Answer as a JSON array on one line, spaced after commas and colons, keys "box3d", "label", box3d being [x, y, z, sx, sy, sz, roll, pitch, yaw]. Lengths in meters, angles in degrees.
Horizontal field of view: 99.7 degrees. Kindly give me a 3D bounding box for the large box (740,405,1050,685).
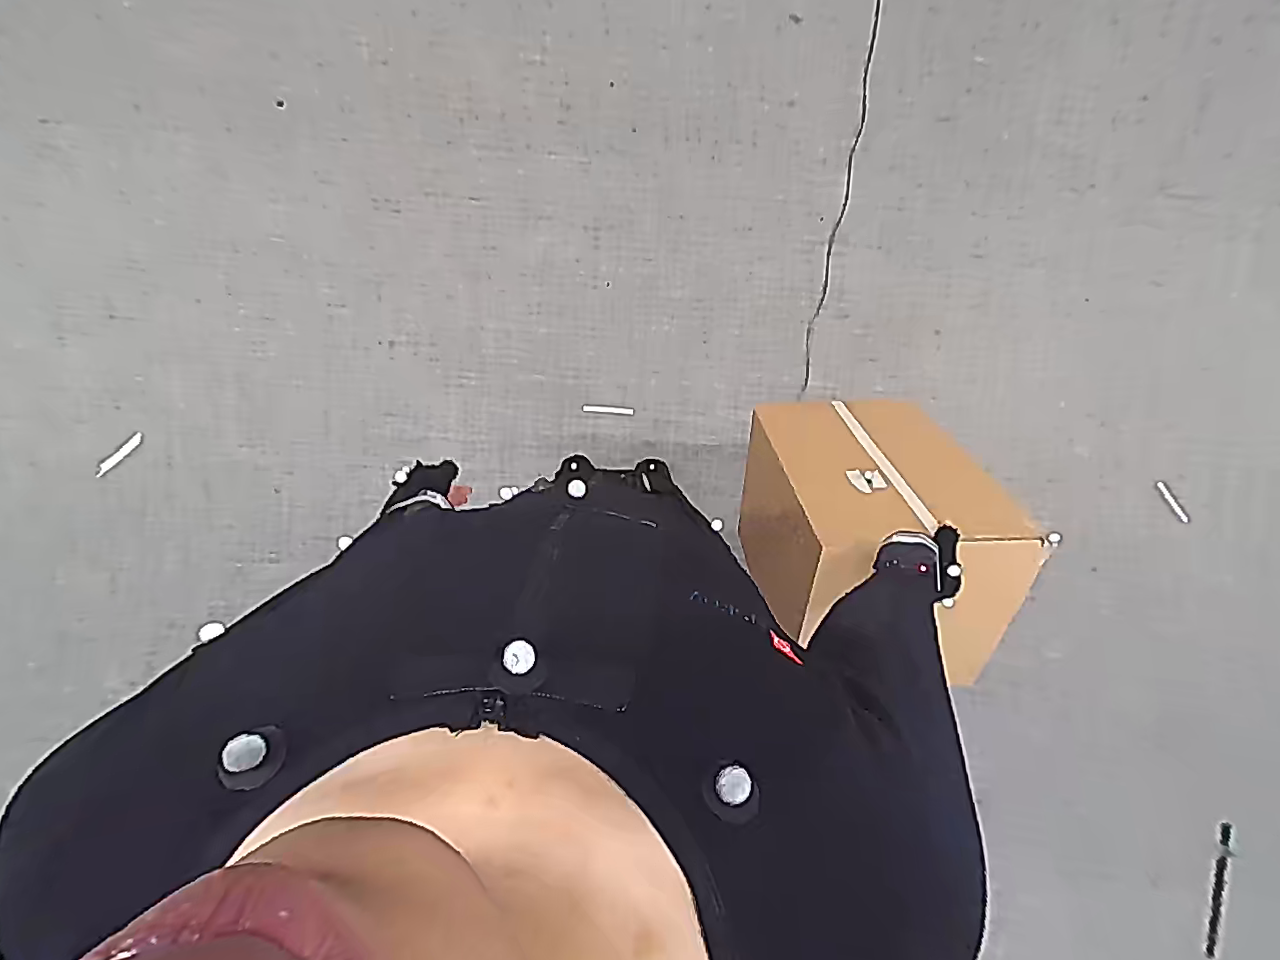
[{"box3d": [0.385, 0.097, 0.963, 0.320, 0.408, 0.320, -2, 126, -2], "label": "large box"}]
